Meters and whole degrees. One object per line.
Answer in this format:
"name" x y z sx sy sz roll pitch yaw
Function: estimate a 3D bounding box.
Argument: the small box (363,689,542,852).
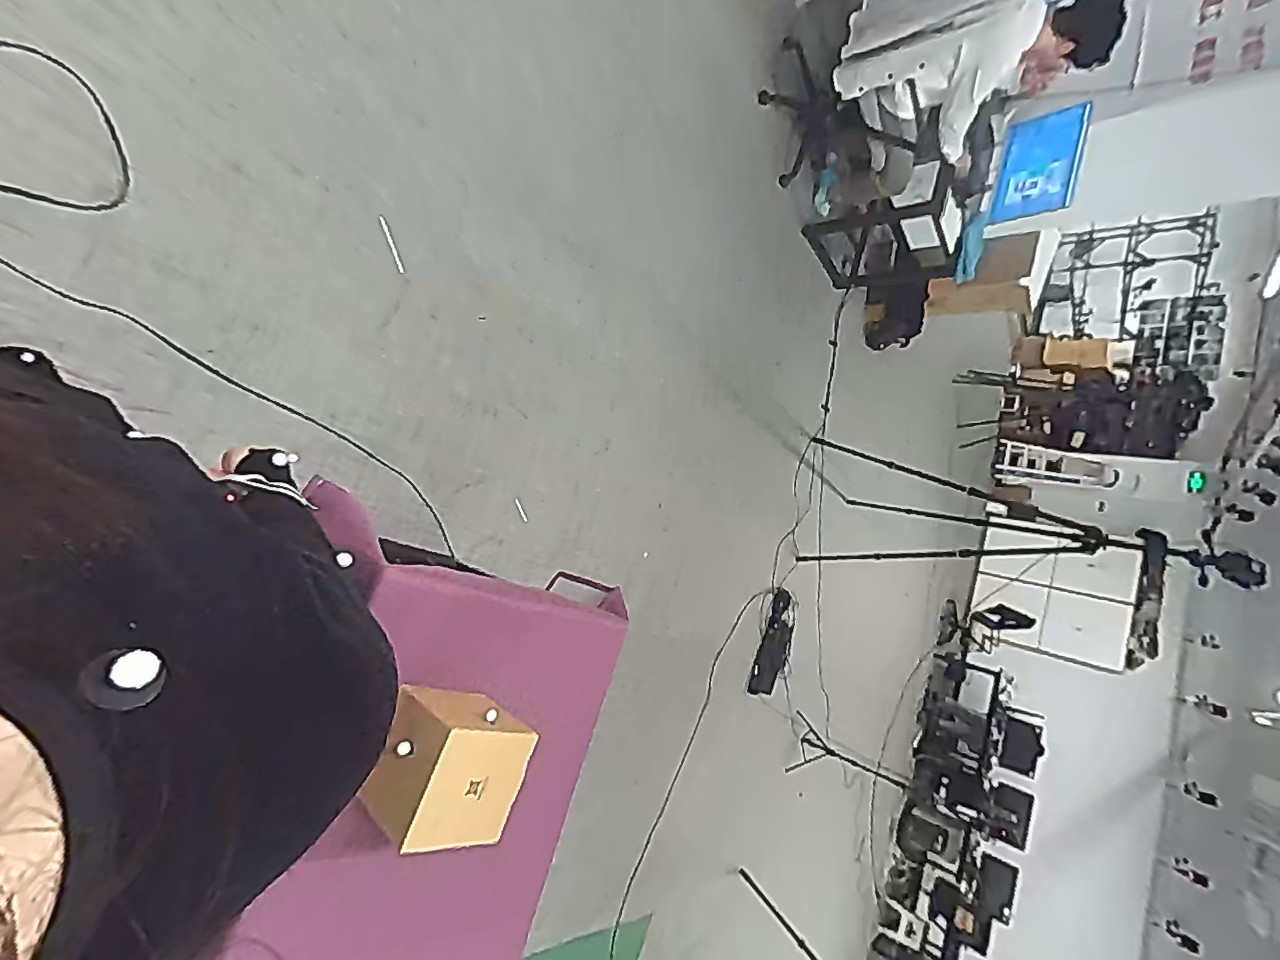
"small box" -0.293 0.442 0.844 0.179 0.176 0.168 34 72 -46
